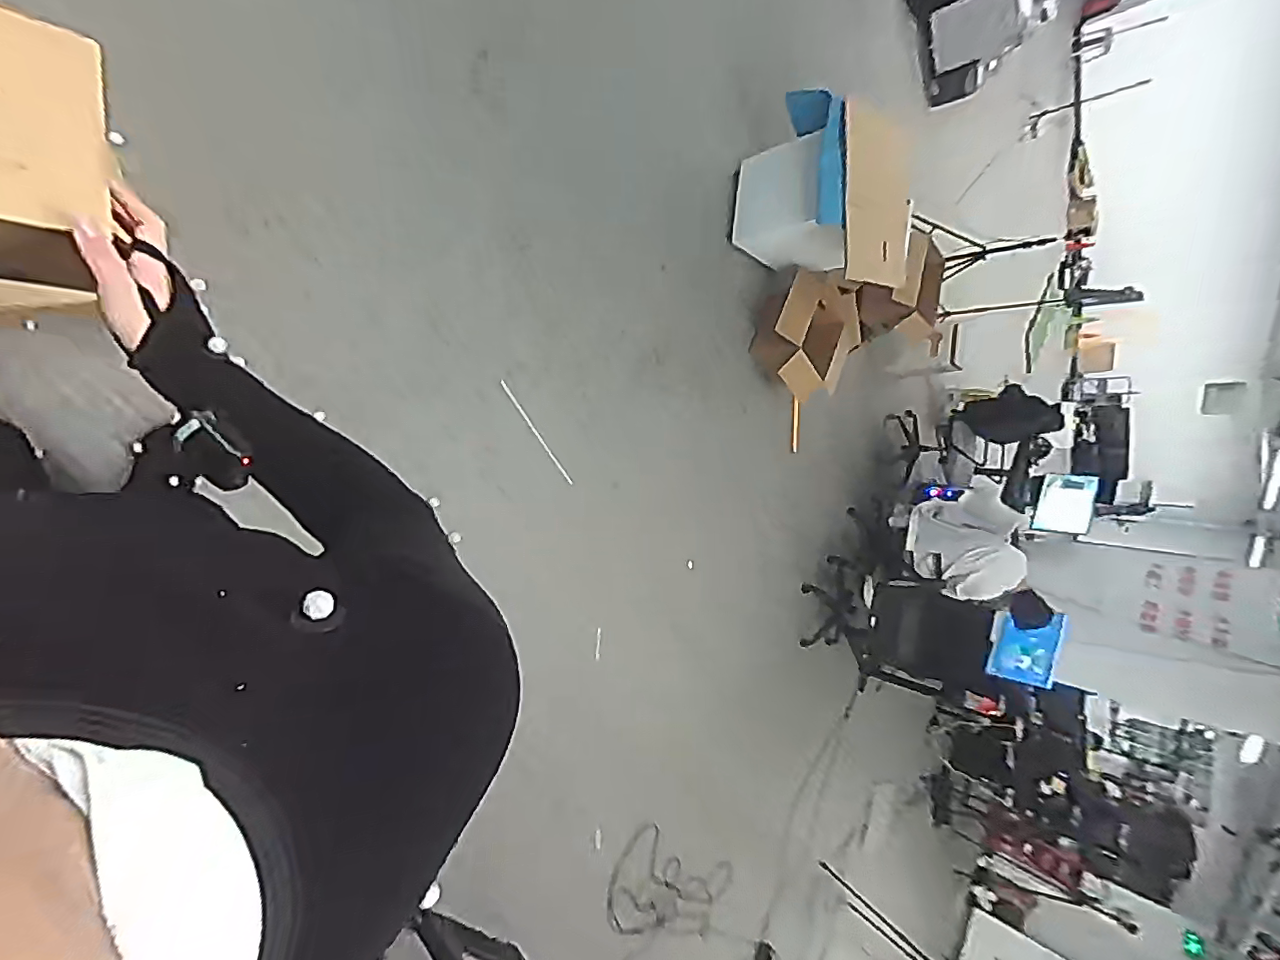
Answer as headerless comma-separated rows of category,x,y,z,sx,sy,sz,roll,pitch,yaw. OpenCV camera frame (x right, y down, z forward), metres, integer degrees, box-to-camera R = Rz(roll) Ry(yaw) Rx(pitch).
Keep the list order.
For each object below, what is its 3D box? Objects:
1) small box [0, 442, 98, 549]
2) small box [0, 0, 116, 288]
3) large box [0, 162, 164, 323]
small box,-1.221,0.025,1.052,0.179,0.176,0.168,32,70,-34
small box,-0.572,-0.287,0.462,0.168,0.176,0.179,-4,91,-46
large box,-1.149,-0.447,0.938,0.408,0.320,0.320,-25,112,-40
